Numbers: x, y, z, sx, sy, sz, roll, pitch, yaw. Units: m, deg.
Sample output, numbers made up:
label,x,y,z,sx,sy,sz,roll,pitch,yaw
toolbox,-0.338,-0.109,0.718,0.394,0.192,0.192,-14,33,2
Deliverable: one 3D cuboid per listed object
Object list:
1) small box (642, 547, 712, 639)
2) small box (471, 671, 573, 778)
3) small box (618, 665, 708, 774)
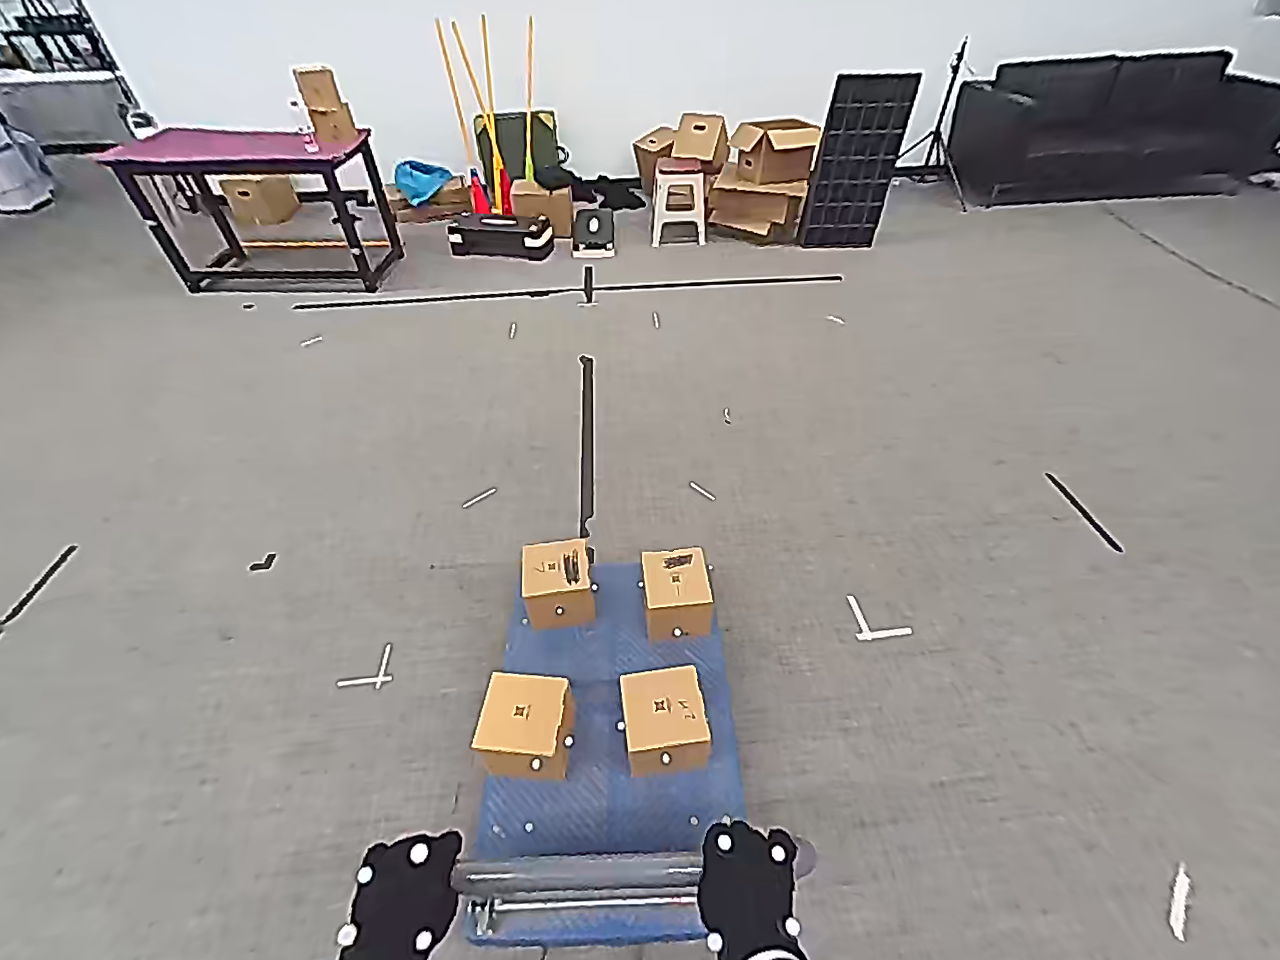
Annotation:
label,x,y,z,sx,sy,sz,roll,pitch,yaw
small box,0.092,0.303,1.451,0.168,0.176,0.179,-5,46,-3
small box,-0.255,0.550,1.213,0.179,0.176,0.168,4,45,3
small box,0.050,0.540,1.215,0.179,0.176,0.168,-6,45,-5
